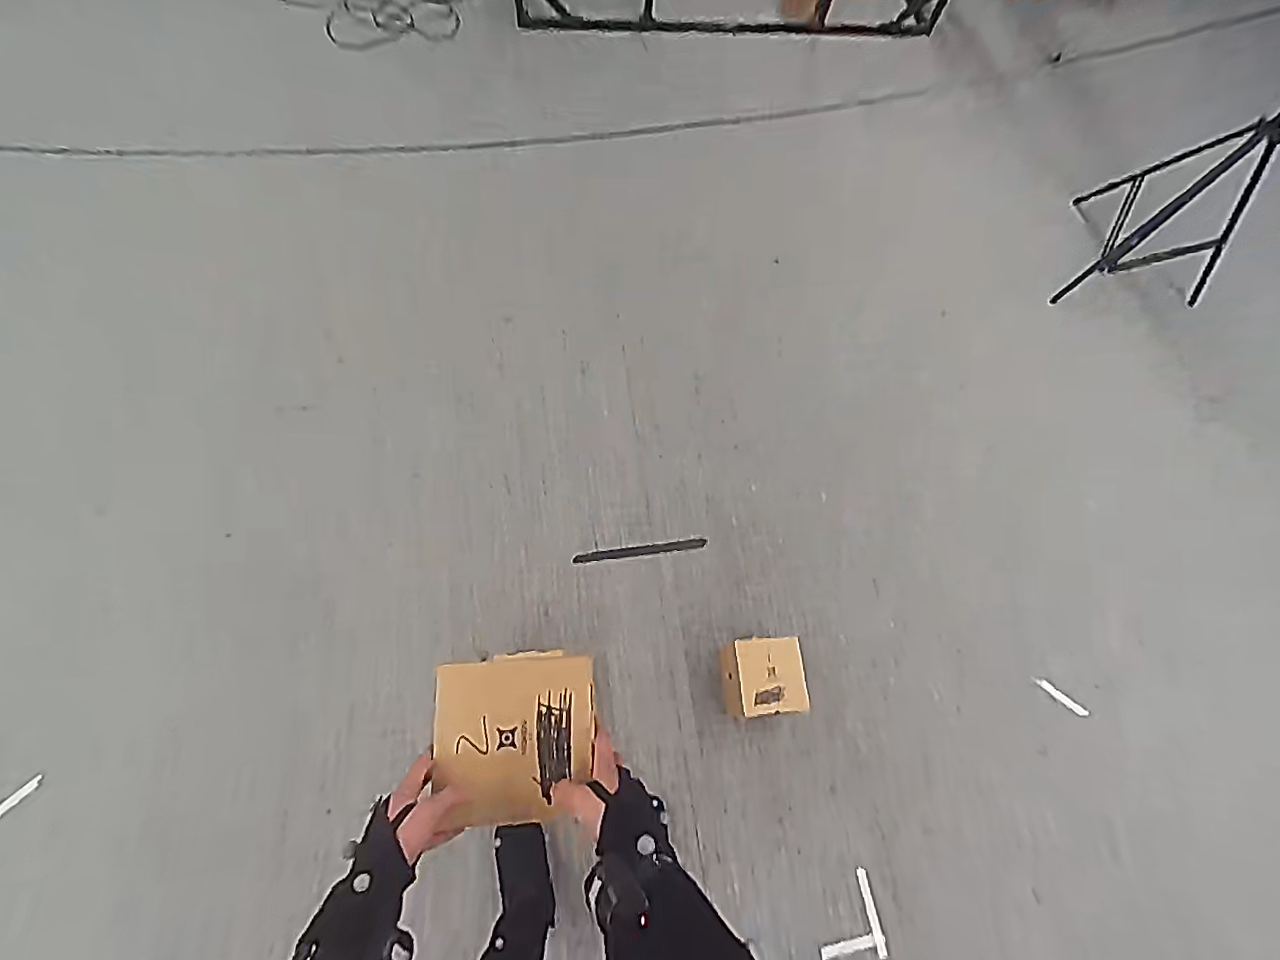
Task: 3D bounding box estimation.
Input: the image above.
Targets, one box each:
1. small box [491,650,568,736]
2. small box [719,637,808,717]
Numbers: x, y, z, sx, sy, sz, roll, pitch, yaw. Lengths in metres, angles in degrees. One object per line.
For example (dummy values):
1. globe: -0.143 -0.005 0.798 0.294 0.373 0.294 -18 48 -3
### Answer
1. small box: -0.265 0.517 1.318 0.168 0.176 0.179 -3 67 -6
2. small box: 0.306 0.503 1.377 0.168 0.176 0.179 -1 67 -7
